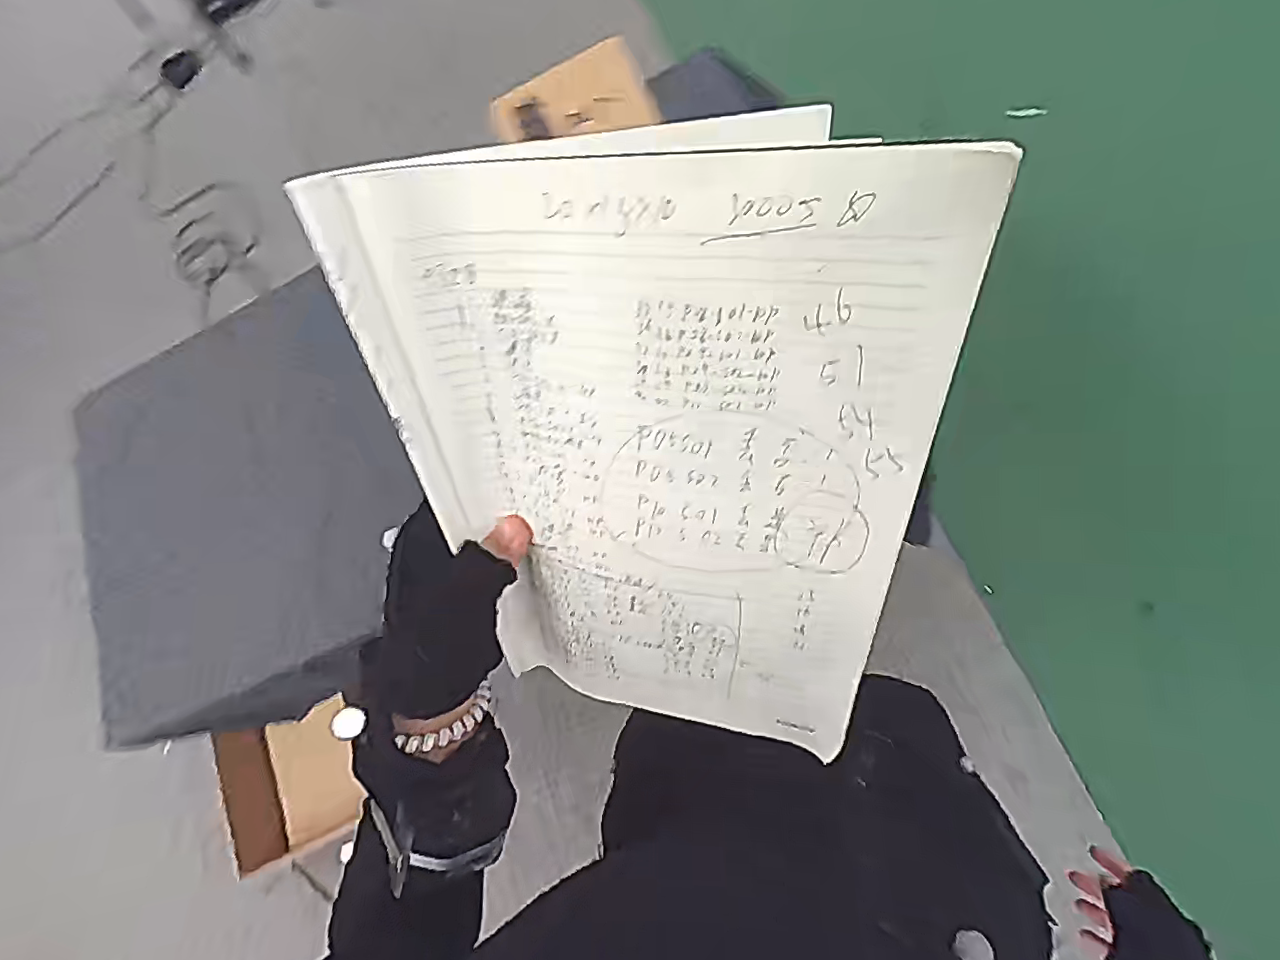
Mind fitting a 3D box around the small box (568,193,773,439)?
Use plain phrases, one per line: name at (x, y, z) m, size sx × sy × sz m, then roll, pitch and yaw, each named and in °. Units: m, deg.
small box at (0.040, -0.171, 0.614) m, size 0.168 × 0.176 × 0.179 m, roll -22°, pitch 73°, yaw 8°
